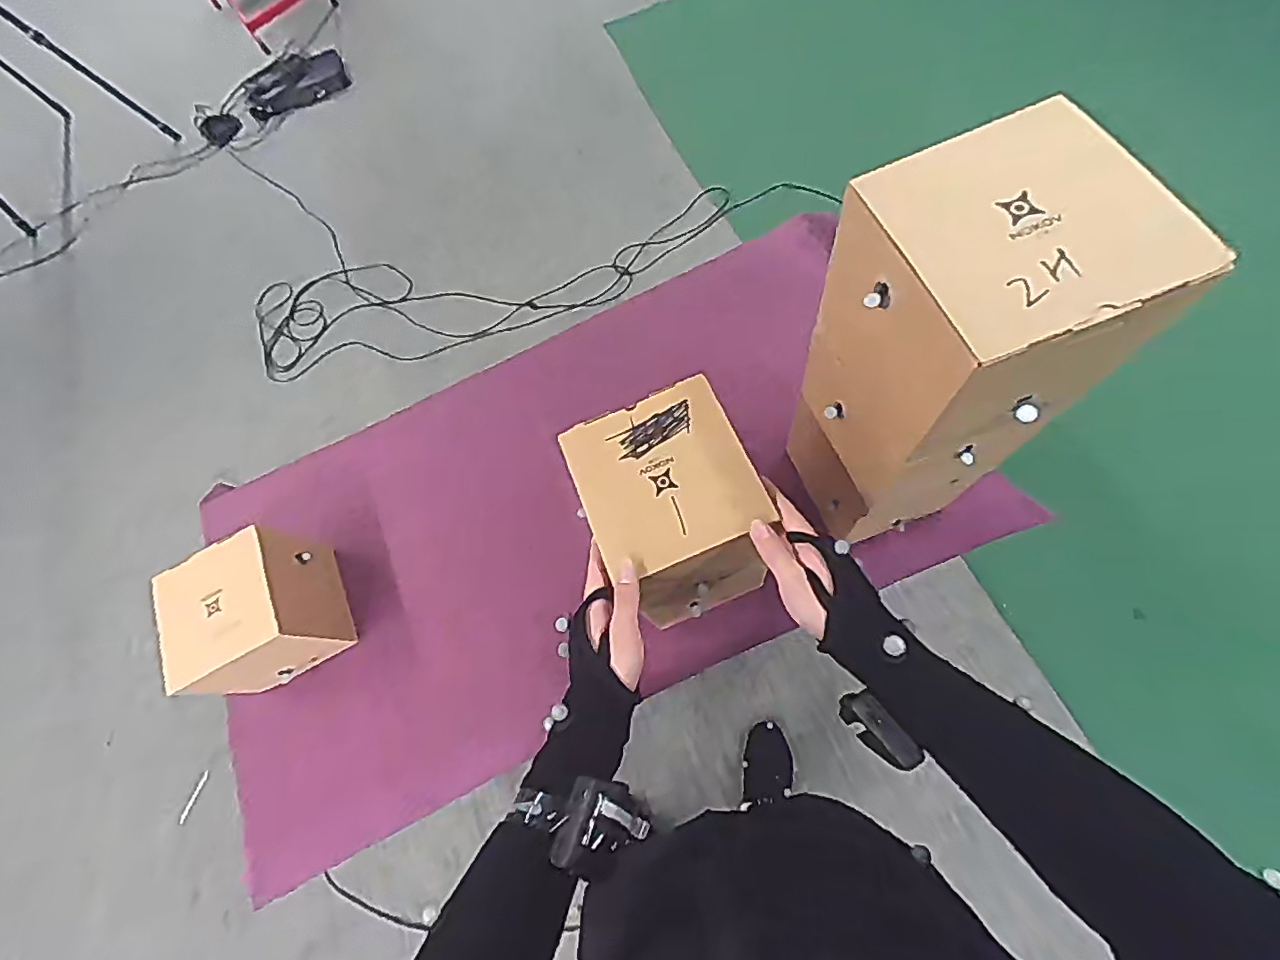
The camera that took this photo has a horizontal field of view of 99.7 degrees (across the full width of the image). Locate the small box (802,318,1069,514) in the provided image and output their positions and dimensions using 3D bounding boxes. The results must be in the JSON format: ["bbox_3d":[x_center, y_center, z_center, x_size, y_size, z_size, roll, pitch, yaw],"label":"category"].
[{"bbox_3d":[0.291,-0.087,0.586,0.168,0.176,0.179,-22,67,2],"label":"small box"}]

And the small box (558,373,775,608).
[{"bbox_3d":[0.031,0.022,0.593,0.168,0.176,0.179,-24,67,1],"label":"small box"}]

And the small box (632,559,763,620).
[{"bbox_3d":[0.057,0.082,0.744,0.168,0.176,0.179,-24,66,1],"label":"small box"}]

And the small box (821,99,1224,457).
[{"bbox_3d":[0.264,-0.146,0.435,0.168,0.176,0.179,-21,68,3],"label":"small box"}]

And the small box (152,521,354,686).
[{"bbox_3d":[-0.566,0.190,0.807,0.168,0.176,0.179,-28,69,-1],"label":"small box"}]
